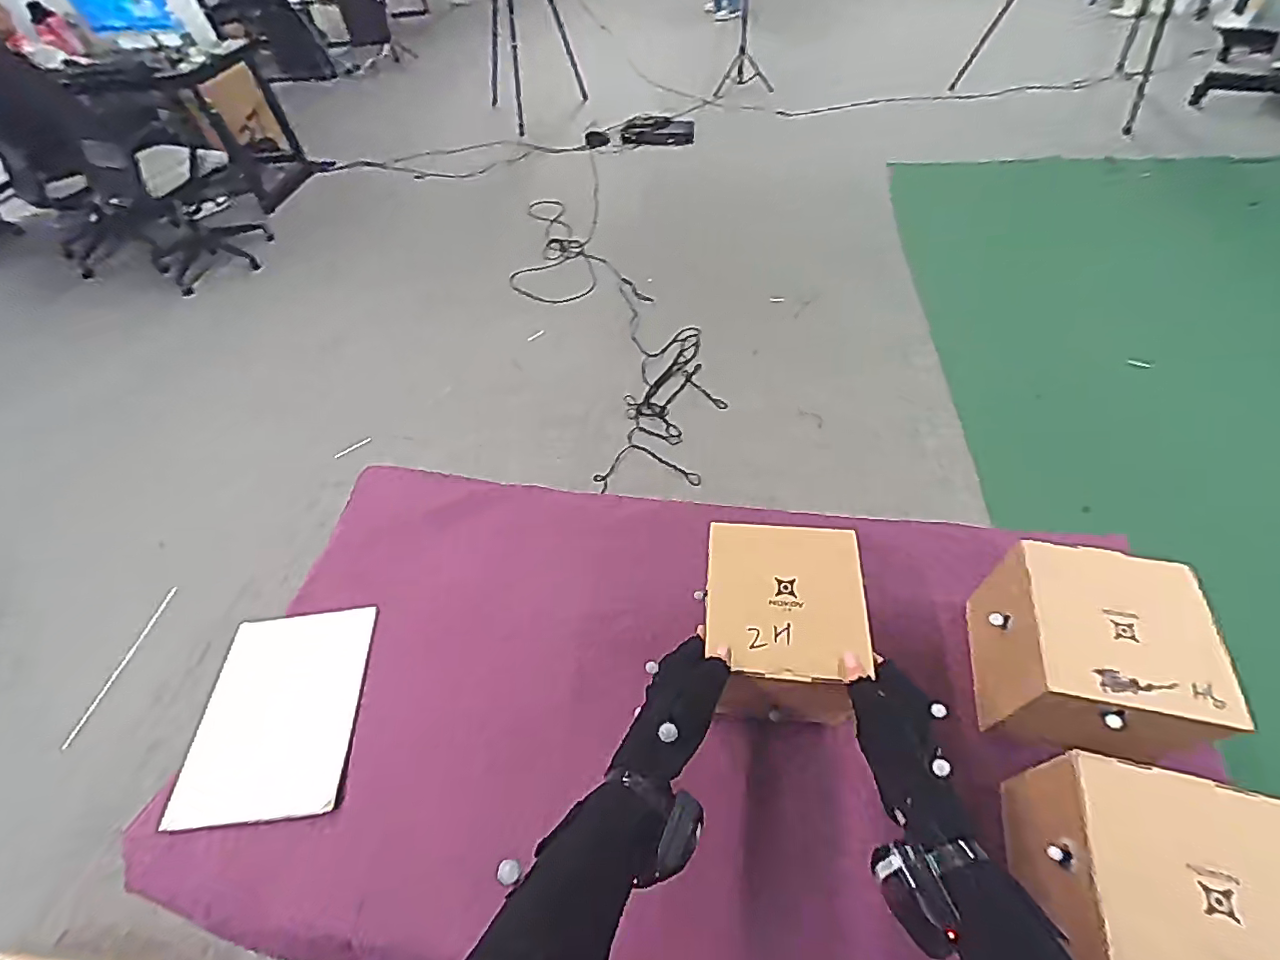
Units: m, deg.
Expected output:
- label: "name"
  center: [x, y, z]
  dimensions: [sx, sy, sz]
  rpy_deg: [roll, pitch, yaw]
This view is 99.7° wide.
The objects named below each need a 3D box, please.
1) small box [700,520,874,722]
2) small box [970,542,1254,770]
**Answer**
- label: "small box"
  center: [0.159, 0.168, 0.636]
  dimensions: [0.168, 0.176, 0.179]
  rpy_deg: [3, 56, 7]
- label: "small box"
  center: [0.497, 0.199, 0.610]
  dimensions: [0.168, 0.176, 0.179]
  rpy_deg: [9, 53, 13]
